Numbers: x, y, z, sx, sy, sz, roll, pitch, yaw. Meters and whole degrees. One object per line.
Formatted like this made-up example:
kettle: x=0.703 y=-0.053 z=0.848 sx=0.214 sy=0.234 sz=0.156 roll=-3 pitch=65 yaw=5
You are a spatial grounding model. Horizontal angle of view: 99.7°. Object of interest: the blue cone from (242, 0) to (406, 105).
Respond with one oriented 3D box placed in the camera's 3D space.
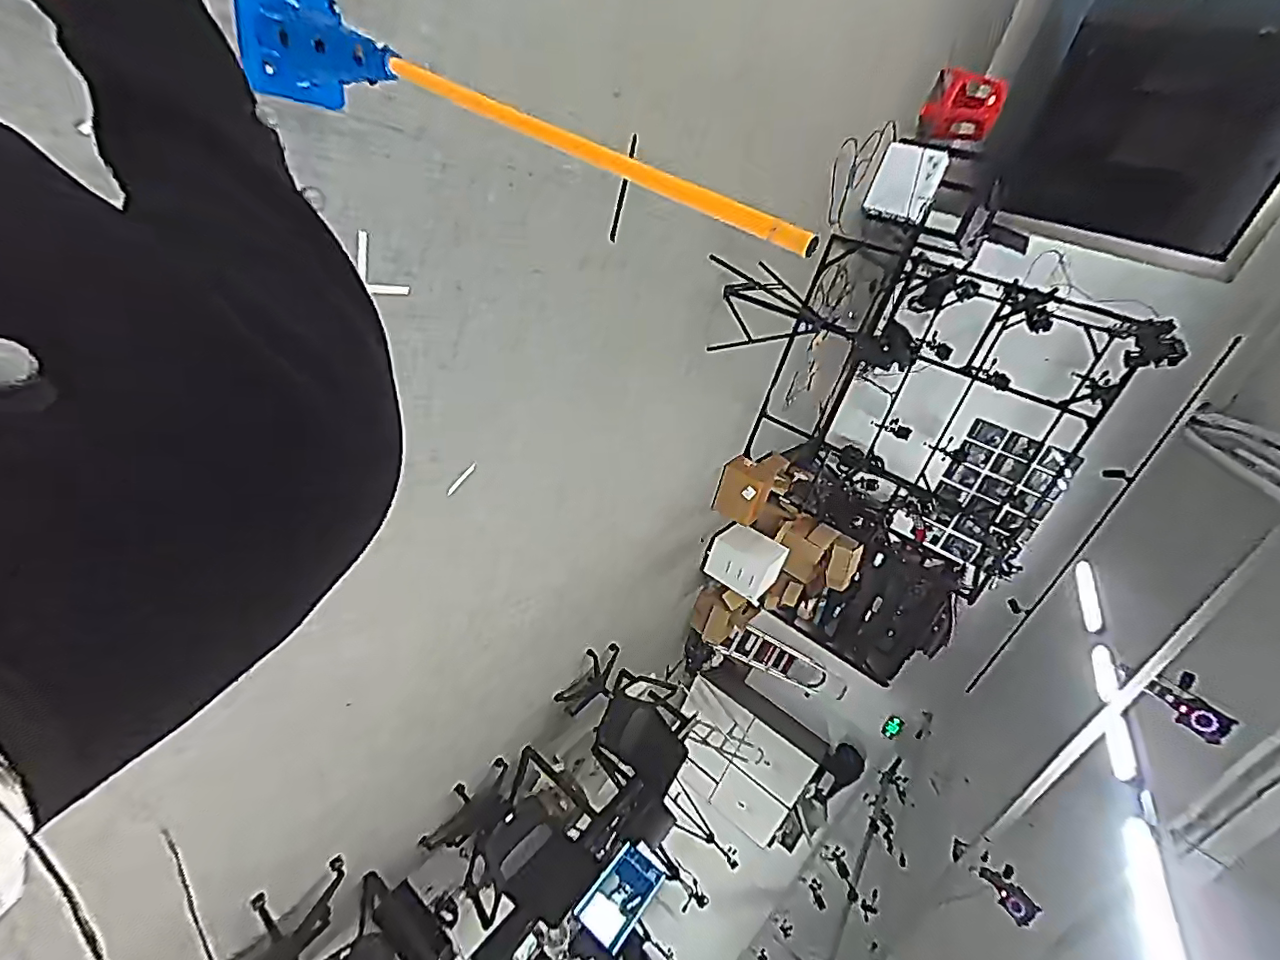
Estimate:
blue cone: x=-0.572 y=-0.819 z=1.033 sx=0.193 sy=0.380 sz=0.192 roll=-25 pitch=137 yaw=-50
